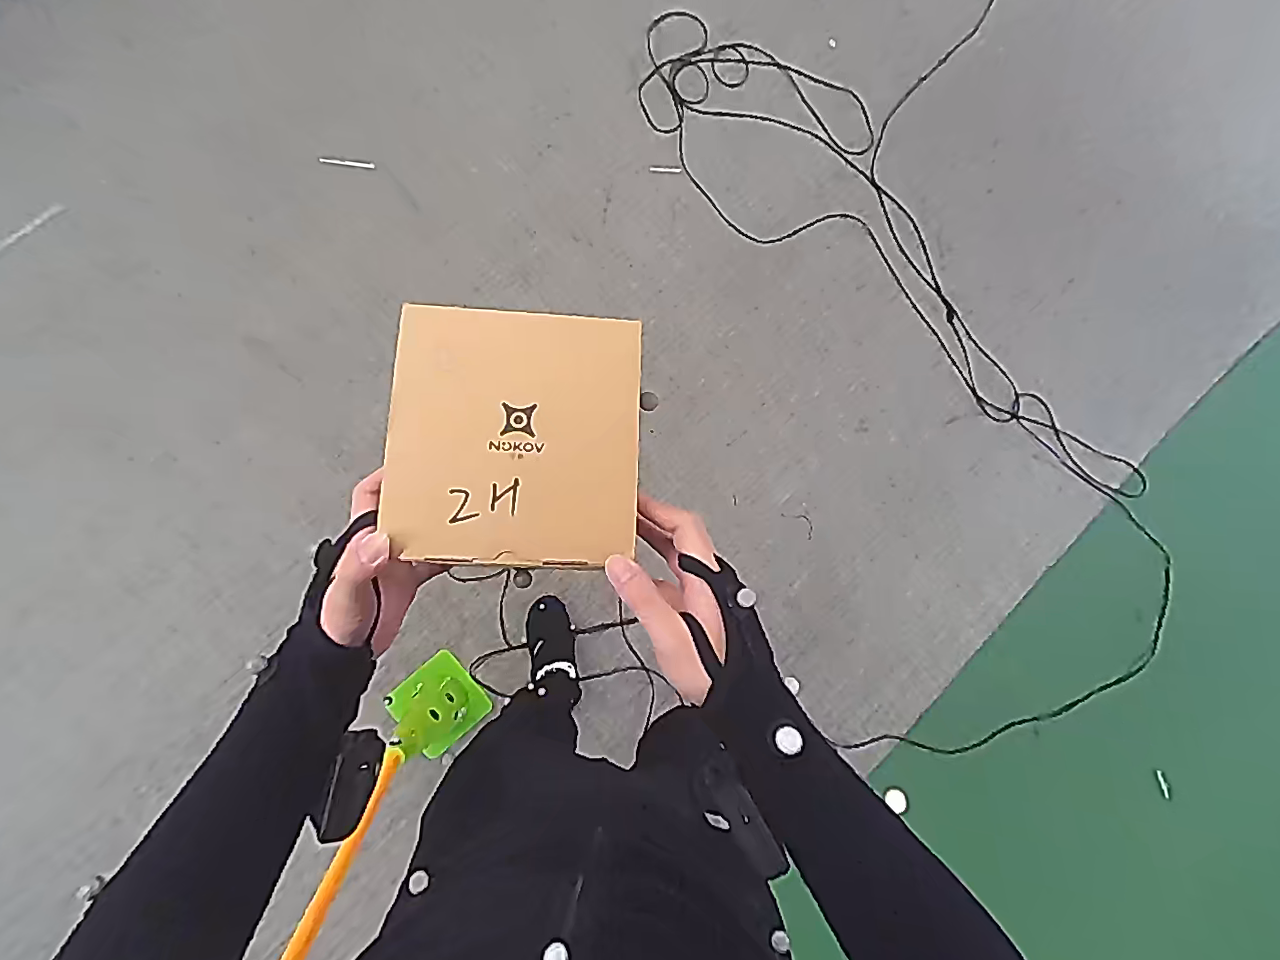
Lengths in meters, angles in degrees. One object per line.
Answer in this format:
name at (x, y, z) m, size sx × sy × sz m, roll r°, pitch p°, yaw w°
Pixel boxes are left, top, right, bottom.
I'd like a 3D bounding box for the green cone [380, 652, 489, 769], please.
green cone at (-0.478, 0.537, 1.162) m, size 0.202 × 0.368 × 0.200 m, roll -40°, pitch 91°, yaw -11°
